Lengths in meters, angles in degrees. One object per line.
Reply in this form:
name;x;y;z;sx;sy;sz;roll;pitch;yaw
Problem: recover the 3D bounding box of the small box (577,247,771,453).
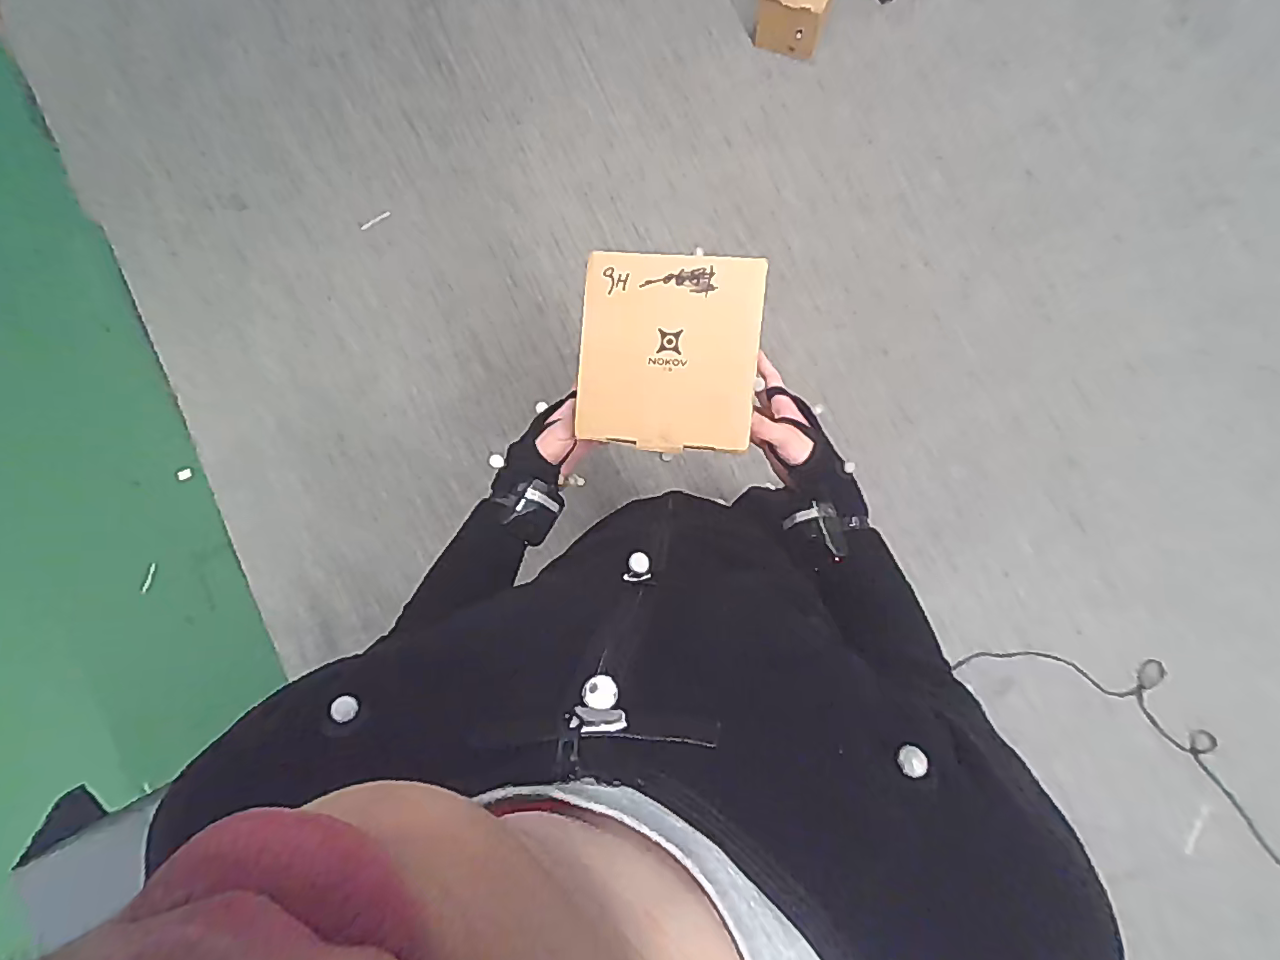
small box;0.039;-0.125;0.573;0.168;0.176;0.179;6;95;7
